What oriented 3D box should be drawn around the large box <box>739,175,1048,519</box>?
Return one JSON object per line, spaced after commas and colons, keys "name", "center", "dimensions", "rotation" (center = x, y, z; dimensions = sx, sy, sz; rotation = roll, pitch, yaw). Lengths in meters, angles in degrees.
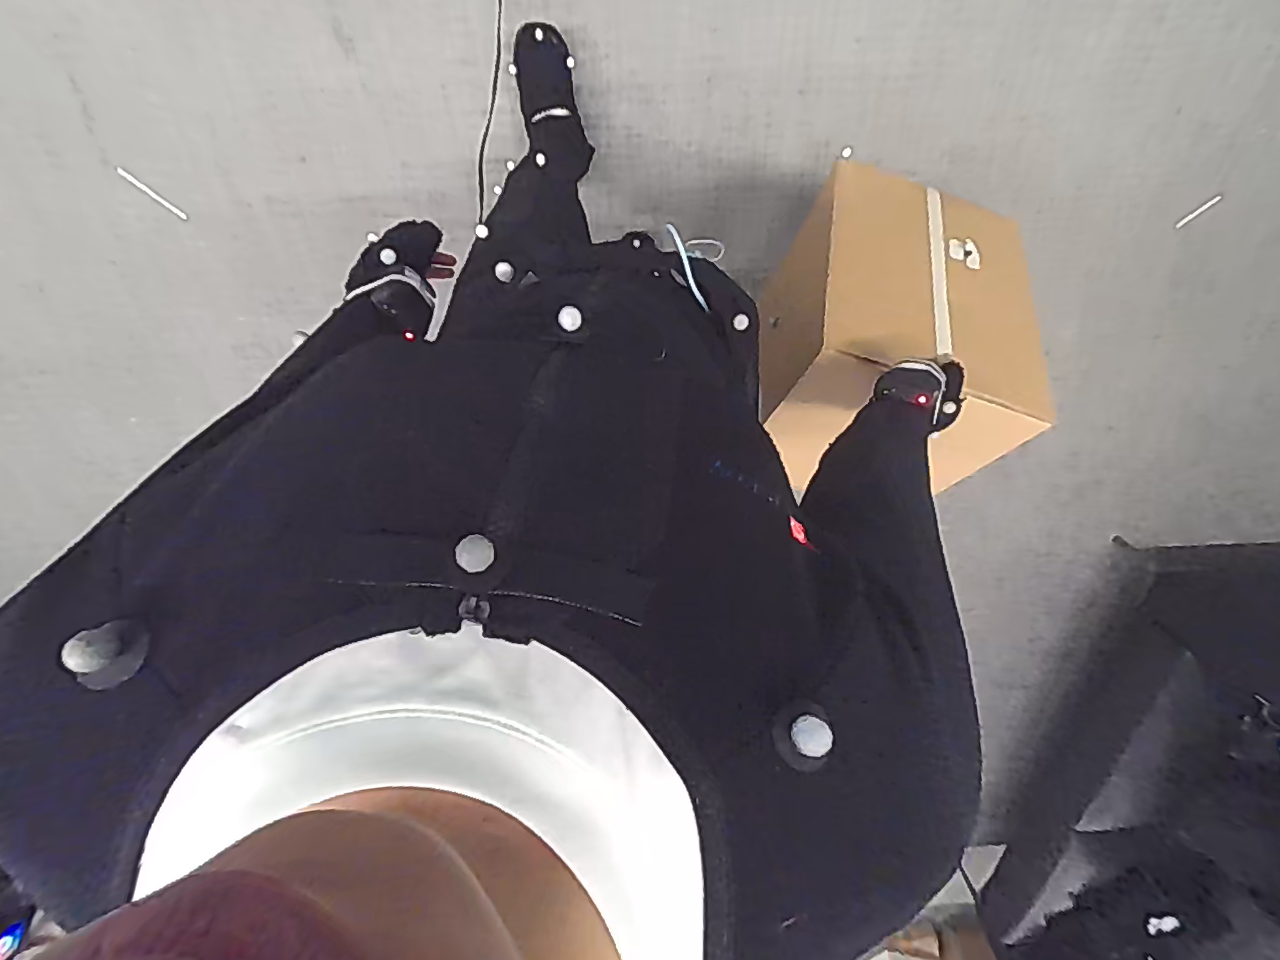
{"name": "large box", "center": [0.376, -0.201, 0.890], "dimensions": [0.320, 0.408, 0.320], "rotation": [17, 150, -5]}
